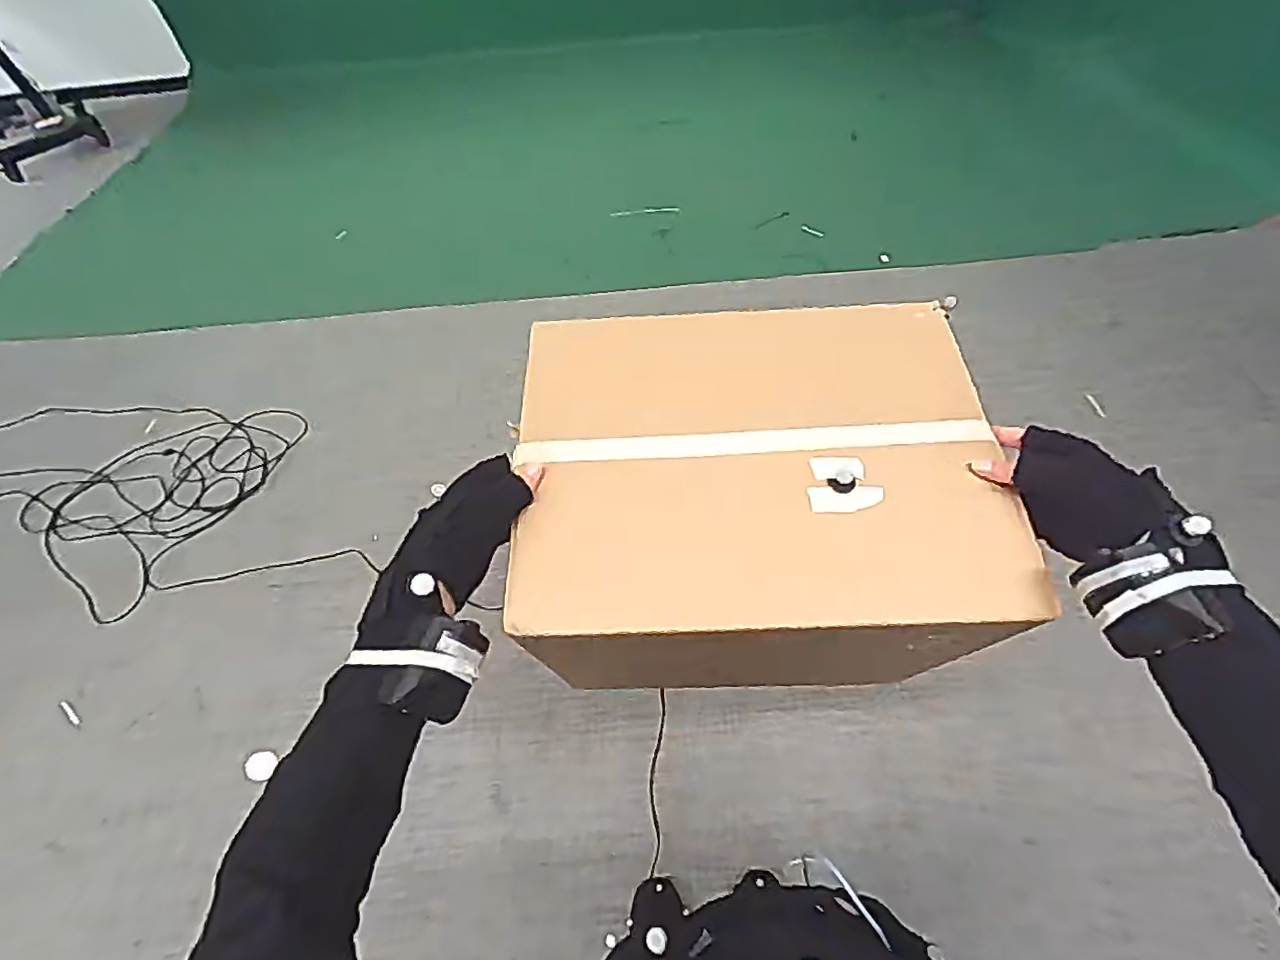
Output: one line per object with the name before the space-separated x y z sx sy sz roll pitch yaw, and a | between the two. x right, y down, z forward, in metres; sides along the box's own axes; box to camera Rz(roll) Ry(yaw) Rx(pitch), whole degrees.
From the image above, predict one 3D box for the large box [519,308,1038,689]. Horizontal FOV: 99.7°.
large box | 0.103 0.043 0.609 0.408 0.320 0.320 -3 62 2
